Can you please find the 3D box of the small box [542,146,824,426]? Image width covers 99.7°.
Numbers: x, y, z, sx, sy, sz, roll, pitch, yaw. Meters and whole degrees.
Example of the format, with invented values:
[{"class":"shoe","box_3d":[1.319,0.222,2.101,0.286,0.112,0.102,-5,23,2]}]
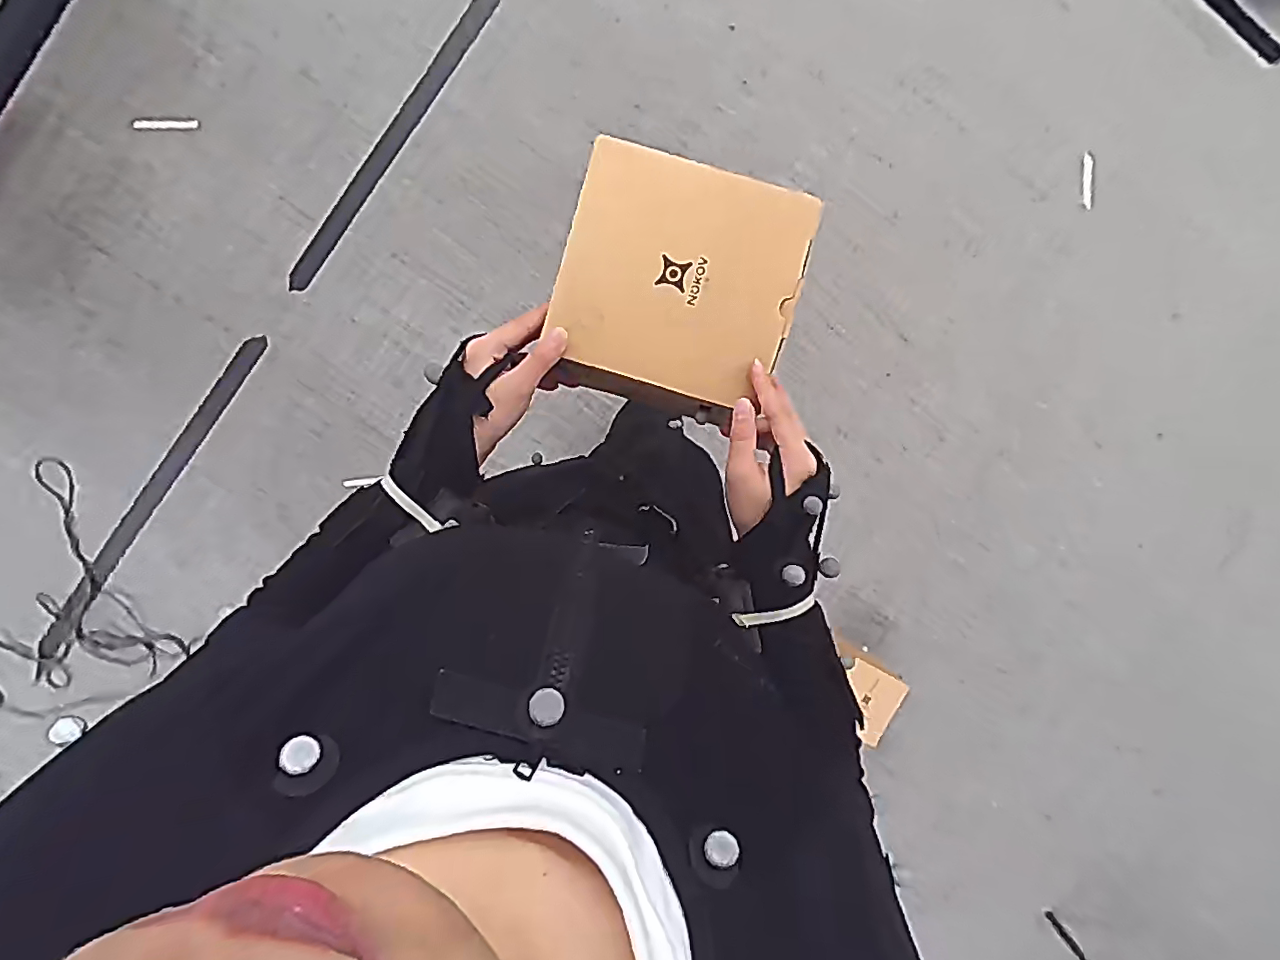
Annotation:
[{"class":"small box","box_3d":[0.033,-0.149,0.480,0.179,0.176,0.168,16,93,1]}]
